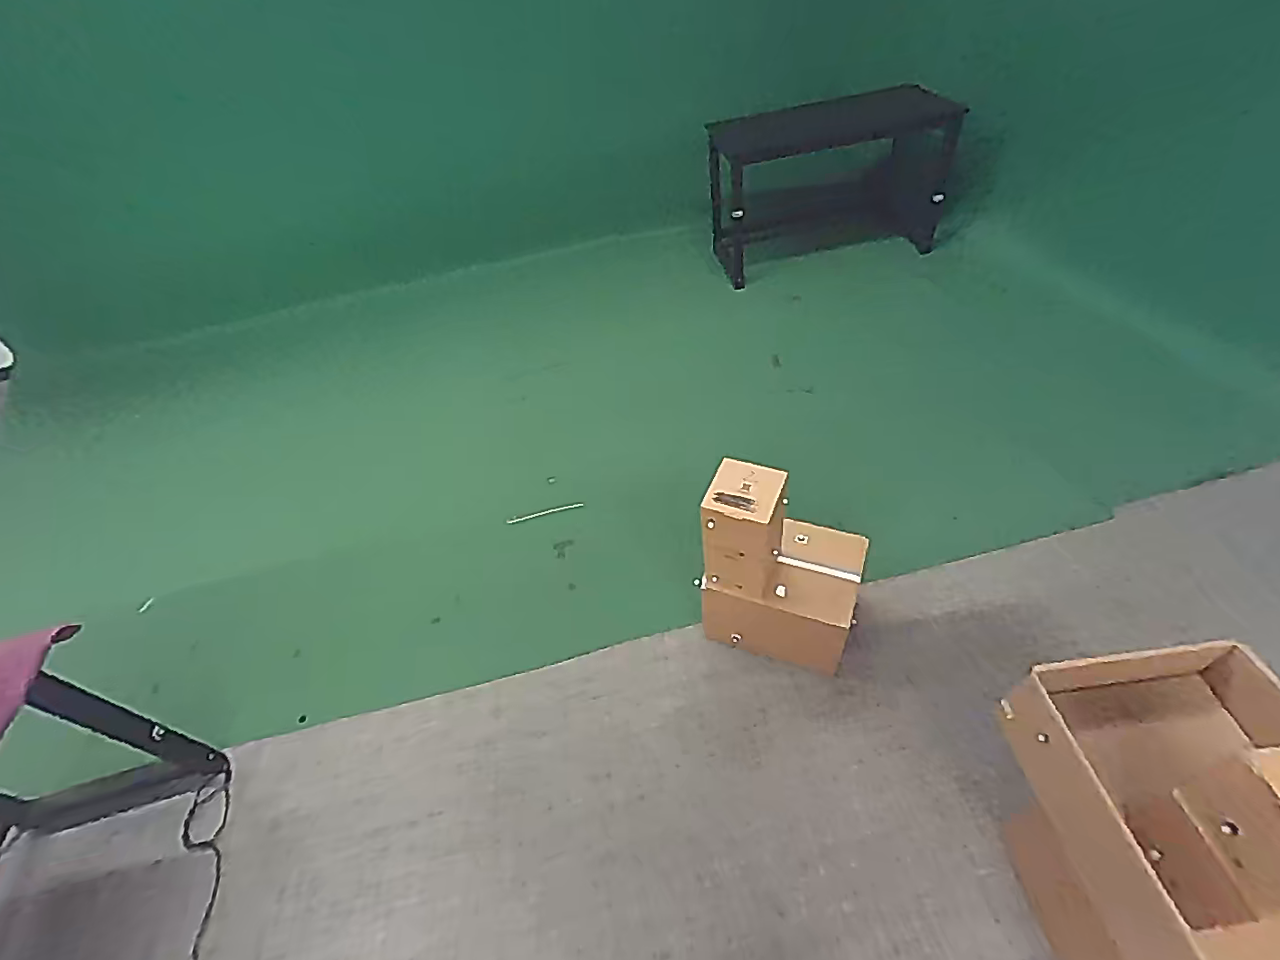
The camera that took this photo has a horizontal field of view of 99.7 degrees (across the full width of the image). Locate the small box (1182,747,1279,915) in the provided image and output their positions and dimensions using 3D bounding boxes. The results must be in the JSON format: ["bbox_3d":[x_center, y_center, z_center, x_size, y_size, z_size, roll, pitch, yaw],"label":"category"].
[{"bbox_3d":[0.918,0.469,0.729,0.179,0.176,0.168,-8,45,3],"label":"small box"}]

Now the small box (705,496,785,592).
[{"bbox_3d":[0.288,0.178,1.479,0.168,0.176,0.179,17,52,23],"label":"small box"}]
